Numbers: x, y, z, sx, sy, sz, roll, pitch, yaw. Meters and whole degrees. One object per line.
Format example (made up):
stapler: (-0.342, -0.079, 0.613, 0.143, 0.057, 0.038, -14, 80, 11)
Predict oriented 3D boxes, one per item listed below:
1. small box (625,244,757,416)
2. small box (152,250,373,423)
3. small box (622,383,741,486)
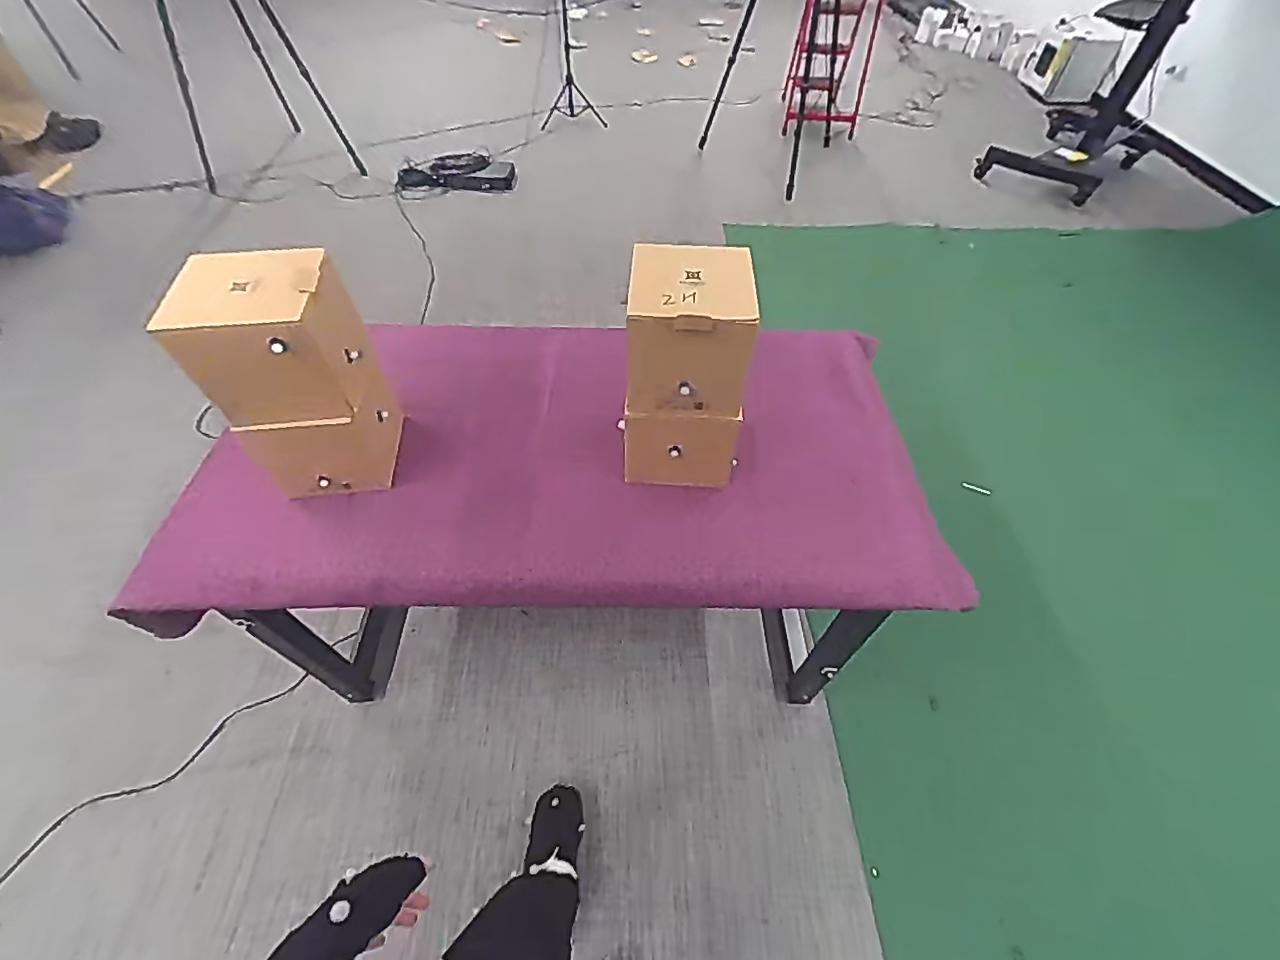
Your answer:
small box: (0.067, -0.213, 0.775, 0.168, 0.176, 0.179, 2, 52, 2)
small box: (-0.504, -0.195, 0.756, 0.179, 0.176, 0.168, -6, 53, -6)
small box: (0.067, -0.106, 0.899, 0.179, 0.176, 0.168, 5, 51, 4)
